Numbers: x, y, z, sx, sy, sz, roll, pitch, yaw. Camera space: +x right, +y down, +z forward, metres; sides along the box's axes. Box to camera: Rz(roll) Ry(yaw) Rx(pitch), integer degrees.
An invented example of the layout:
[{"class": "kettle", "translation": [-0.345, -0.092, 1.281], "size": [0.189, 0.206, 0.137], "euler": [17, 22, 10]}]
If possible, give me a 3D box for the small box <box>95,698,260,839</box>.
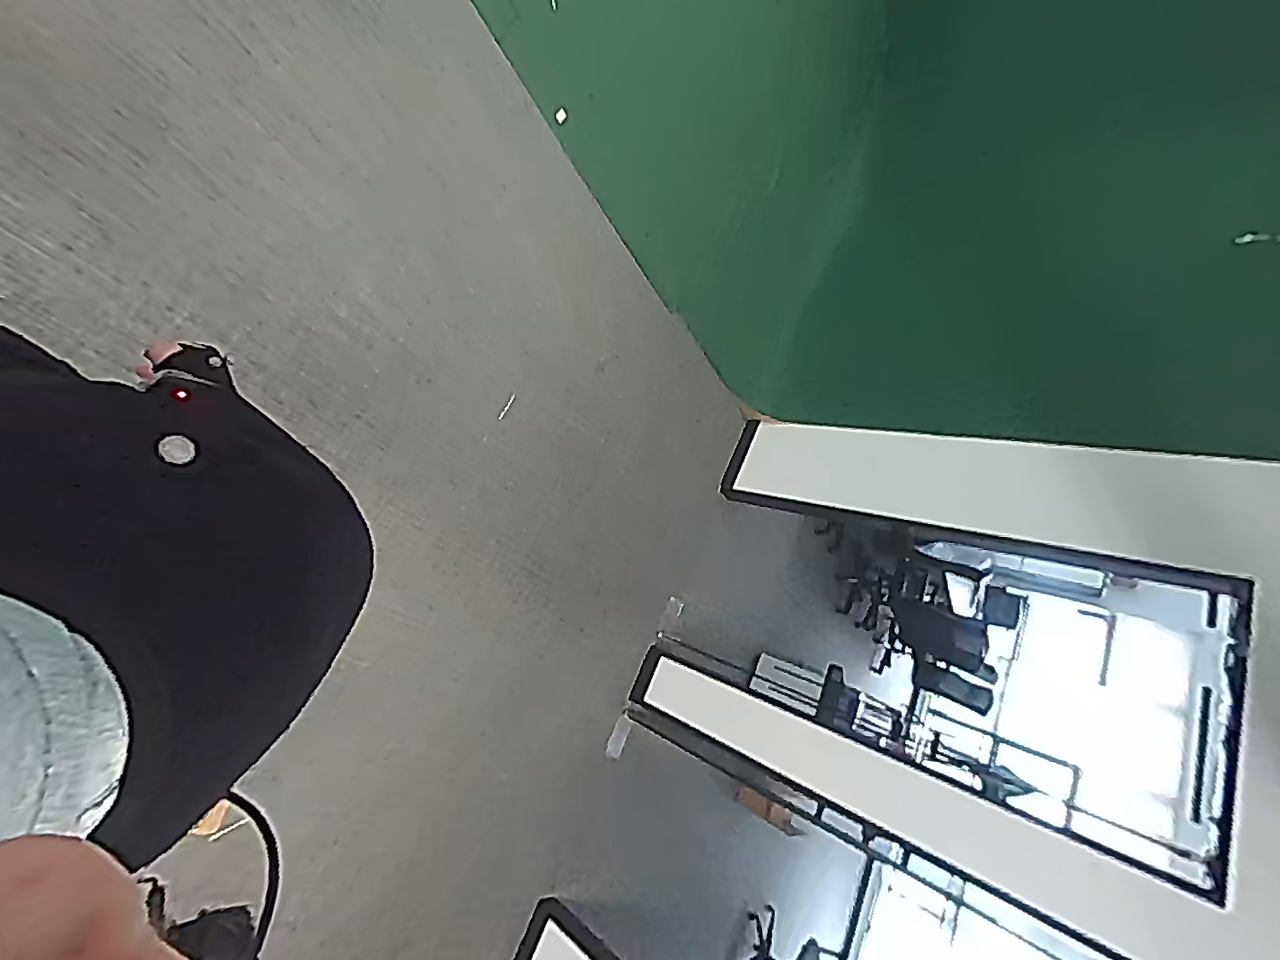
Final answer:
[{"class": "small box", "translation": [-0.858, 0.527, 1.002], "size": [0.168, 0.176, 0.179], "euler": [37, 66, -48]}]
